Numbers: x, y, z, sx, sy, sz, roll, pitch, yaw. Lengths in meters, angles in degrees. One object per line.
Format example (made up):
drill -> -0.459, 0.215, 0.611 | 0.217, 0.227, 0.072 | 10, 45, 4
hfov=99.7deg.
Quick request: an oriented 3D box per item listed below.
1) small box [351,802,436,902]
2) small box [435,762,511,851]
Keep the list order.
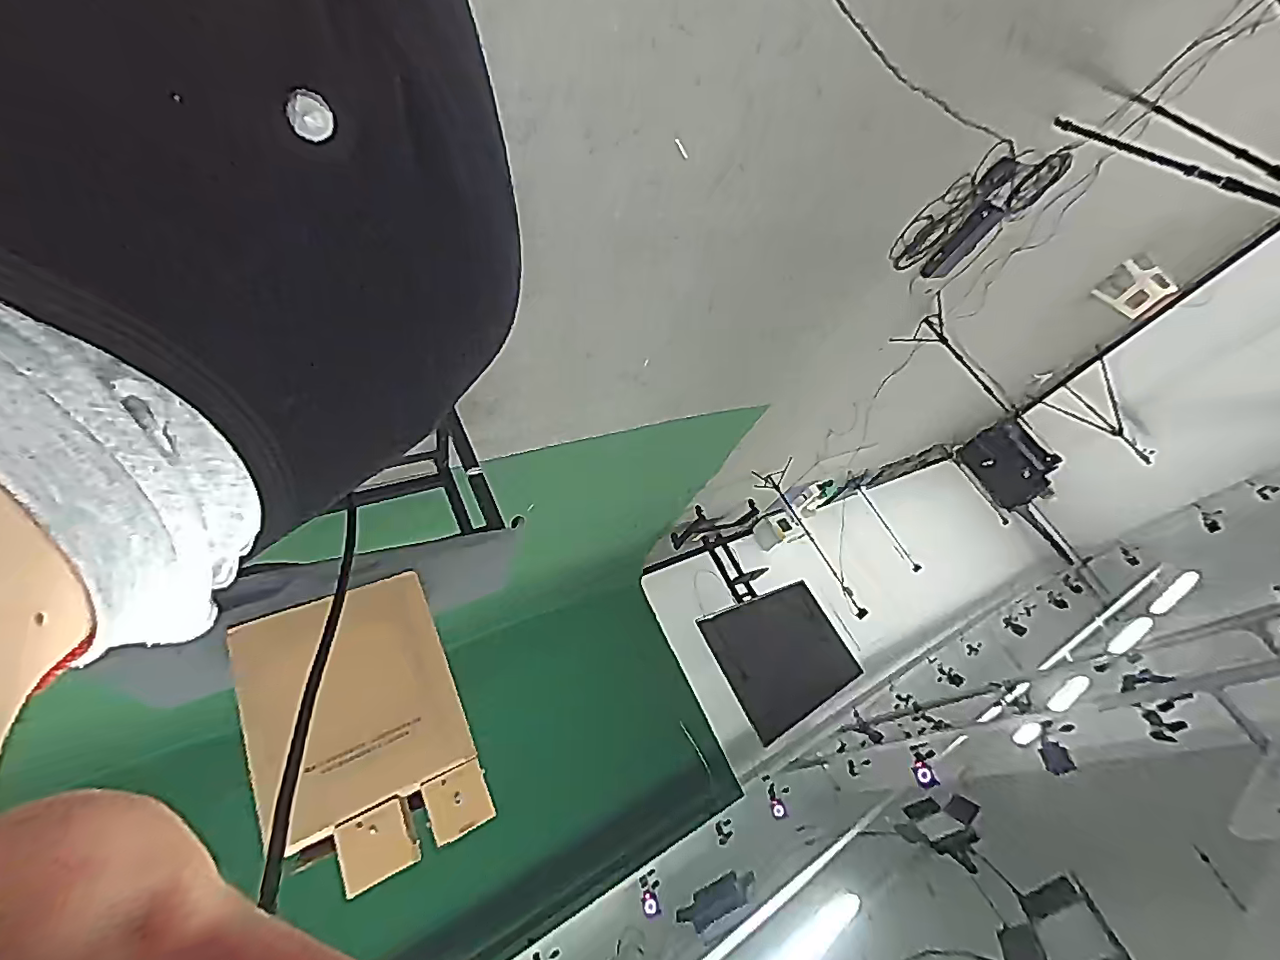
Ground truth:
small box -> -0.676, 1.018, 1.494 | 0.168, 0.176, 0.179 | -19, 154, -24
small box -> -0.500, 0.964, 1.604 | 0.168, 0.176, 0.179 | -18, 155, -29
